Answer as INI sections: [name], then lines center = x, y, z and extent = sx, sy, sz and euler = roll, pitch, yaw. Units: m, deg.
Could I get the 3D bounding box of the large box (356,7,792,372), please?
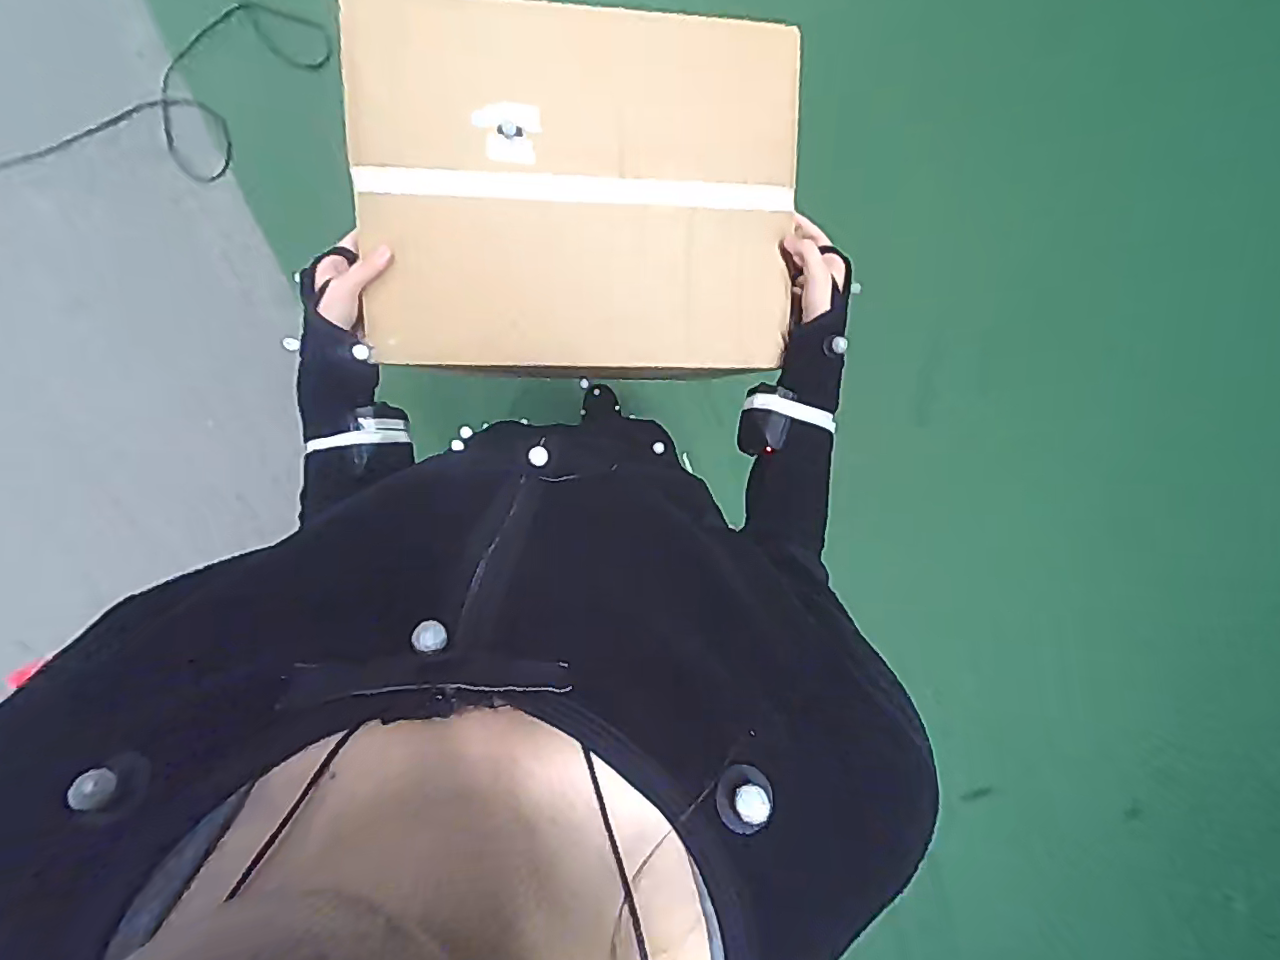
[large box]
center = -0.064, -0.294, 0.661
extent = 0.408, 0.320, 0.320
euler = -1, 99, -6
